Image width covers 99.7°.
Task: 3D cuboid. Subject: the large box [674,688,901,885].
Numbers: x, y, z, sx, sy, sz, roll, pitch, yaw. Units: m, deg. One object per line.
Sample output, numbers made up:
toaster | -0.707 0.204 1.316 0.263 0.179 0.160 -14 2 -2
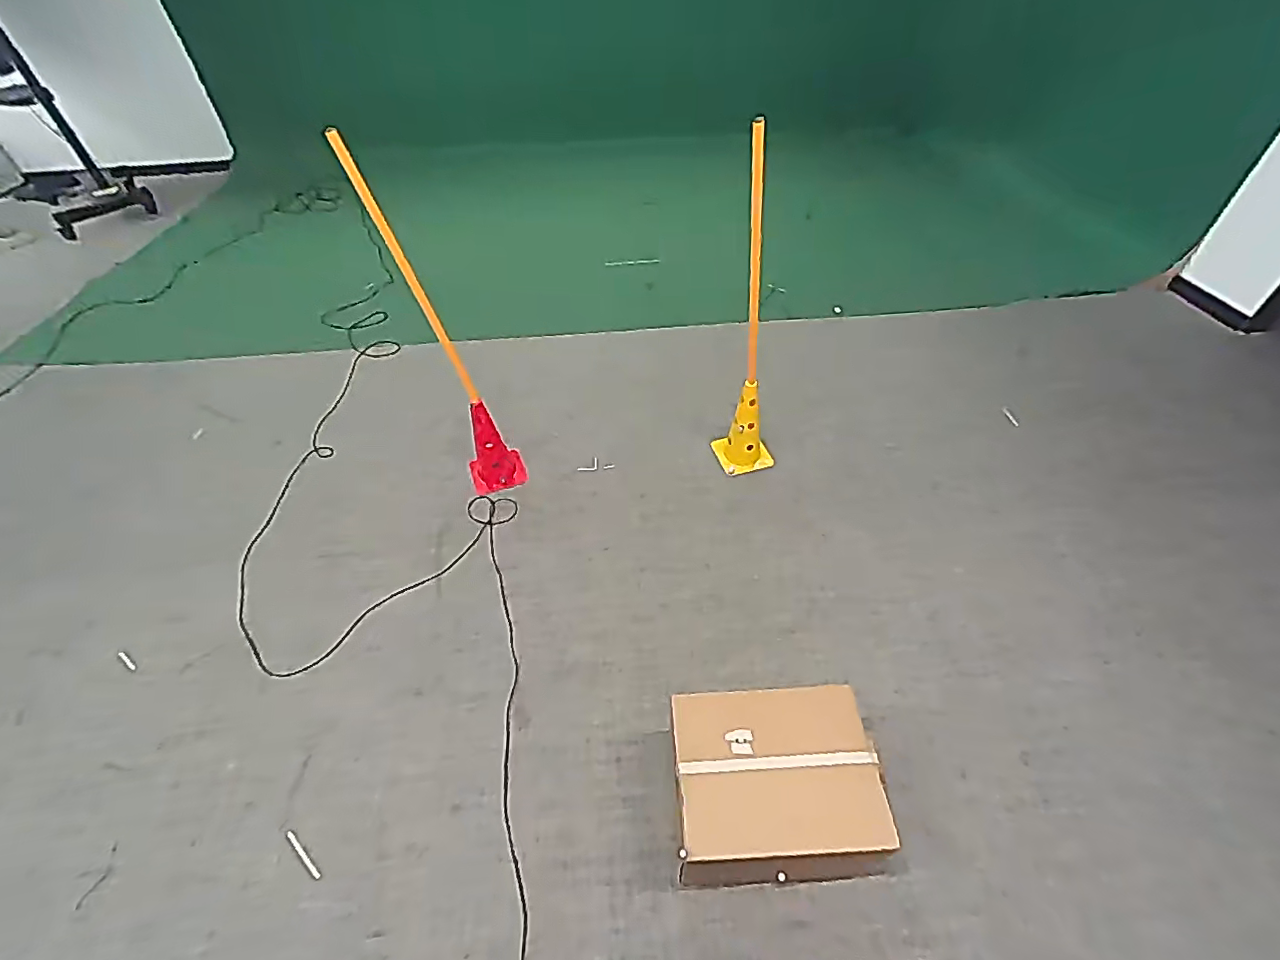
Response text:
large box | 0.292 0.693 1.215 0.408 0.320 0.320 -4 45 0
